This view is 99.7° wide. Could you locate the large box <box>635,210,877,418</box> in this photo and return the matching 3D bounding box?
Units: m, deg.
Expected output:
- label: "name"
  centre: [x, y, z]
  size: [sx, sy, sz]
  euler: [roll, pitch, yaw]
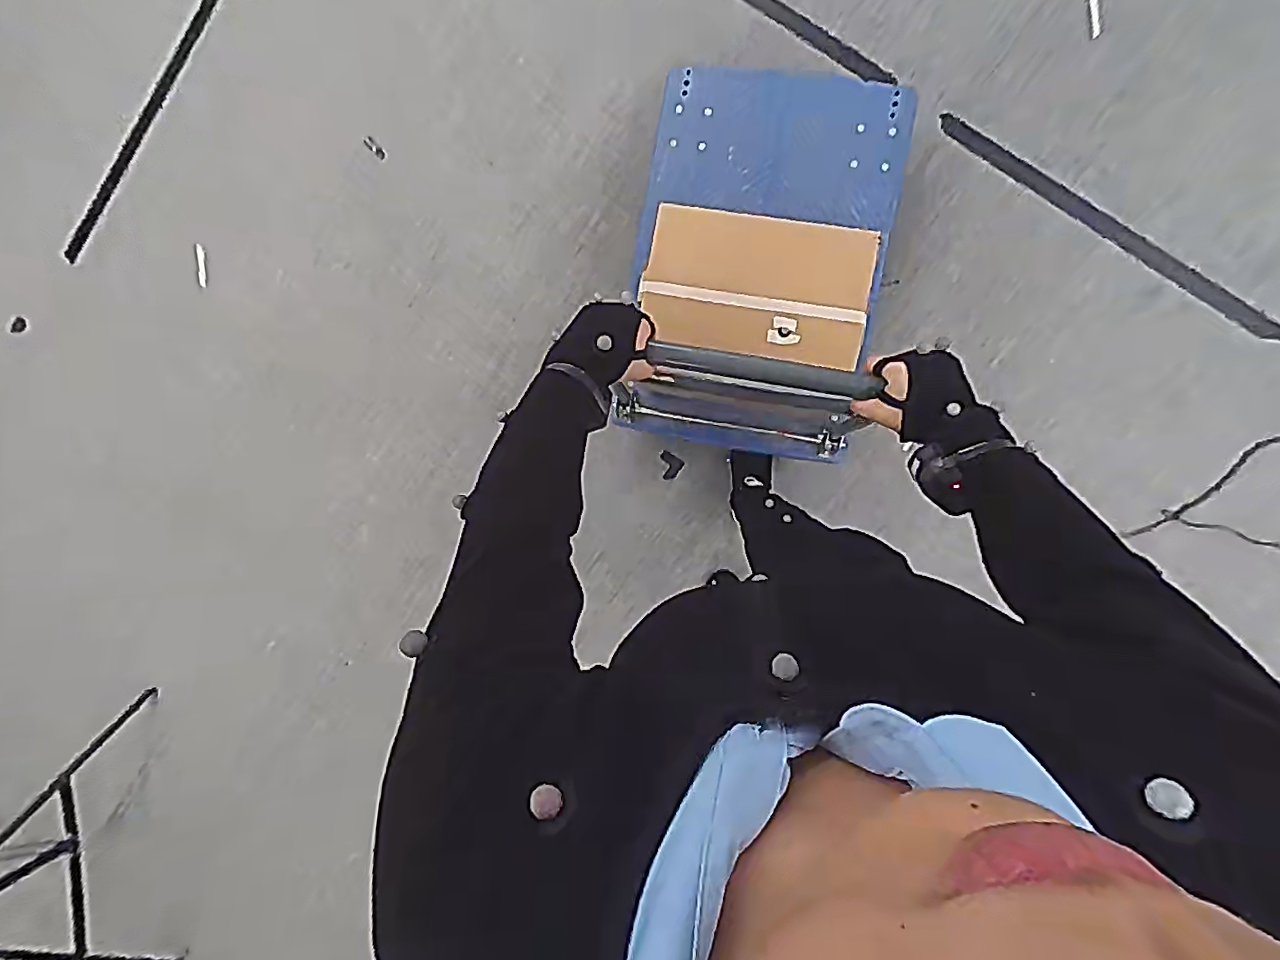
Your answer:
- label: "large box"
  centre: [0.221, -0.323, 1.139]
  size: [0.408, 0.320, 0.320]
  euler: [11, 93, 6]
